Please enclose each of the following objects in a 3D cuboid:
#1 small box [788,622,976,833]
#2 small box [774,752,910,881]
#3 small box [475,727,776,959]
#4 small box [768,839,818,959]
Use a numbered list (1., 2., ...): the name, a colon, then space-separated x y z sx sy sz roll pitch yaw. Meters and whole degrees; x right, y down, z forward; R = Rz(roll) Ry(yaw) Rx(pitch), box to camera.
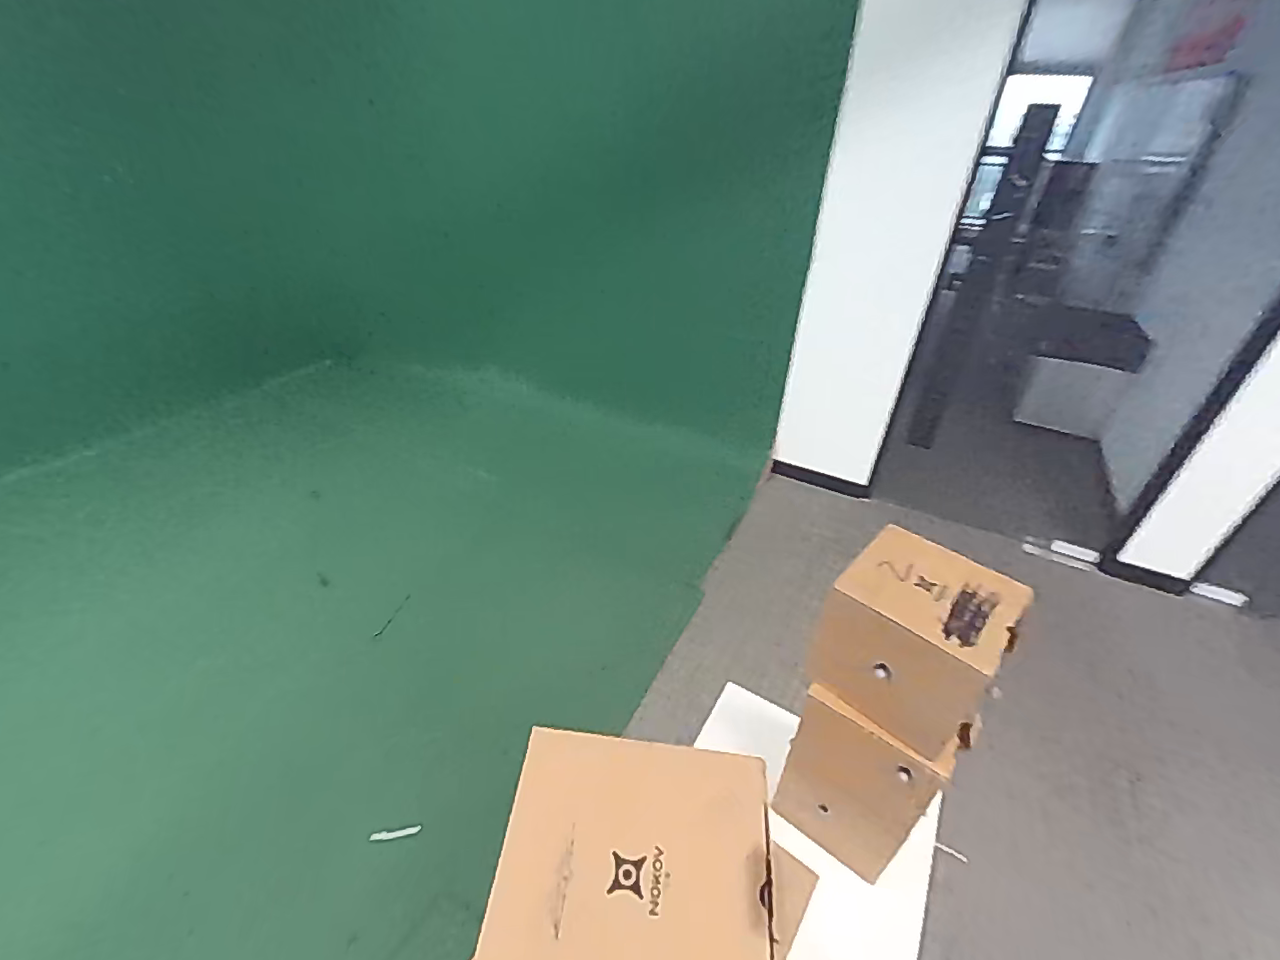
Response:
1. small box: 0.328 0.342 0.755 0.179 0.176 0.168 26 41 30
2. small box: 0.330 0.475 0.849 0.179 0.176 0.168 26 42 30
3. small box: -0.006 0.307 0.399 0.179 0.176 0.168 4 43 4
4. small box: 0.102 0.565 0.705 0.179 0.176 0.168 26 41 28
